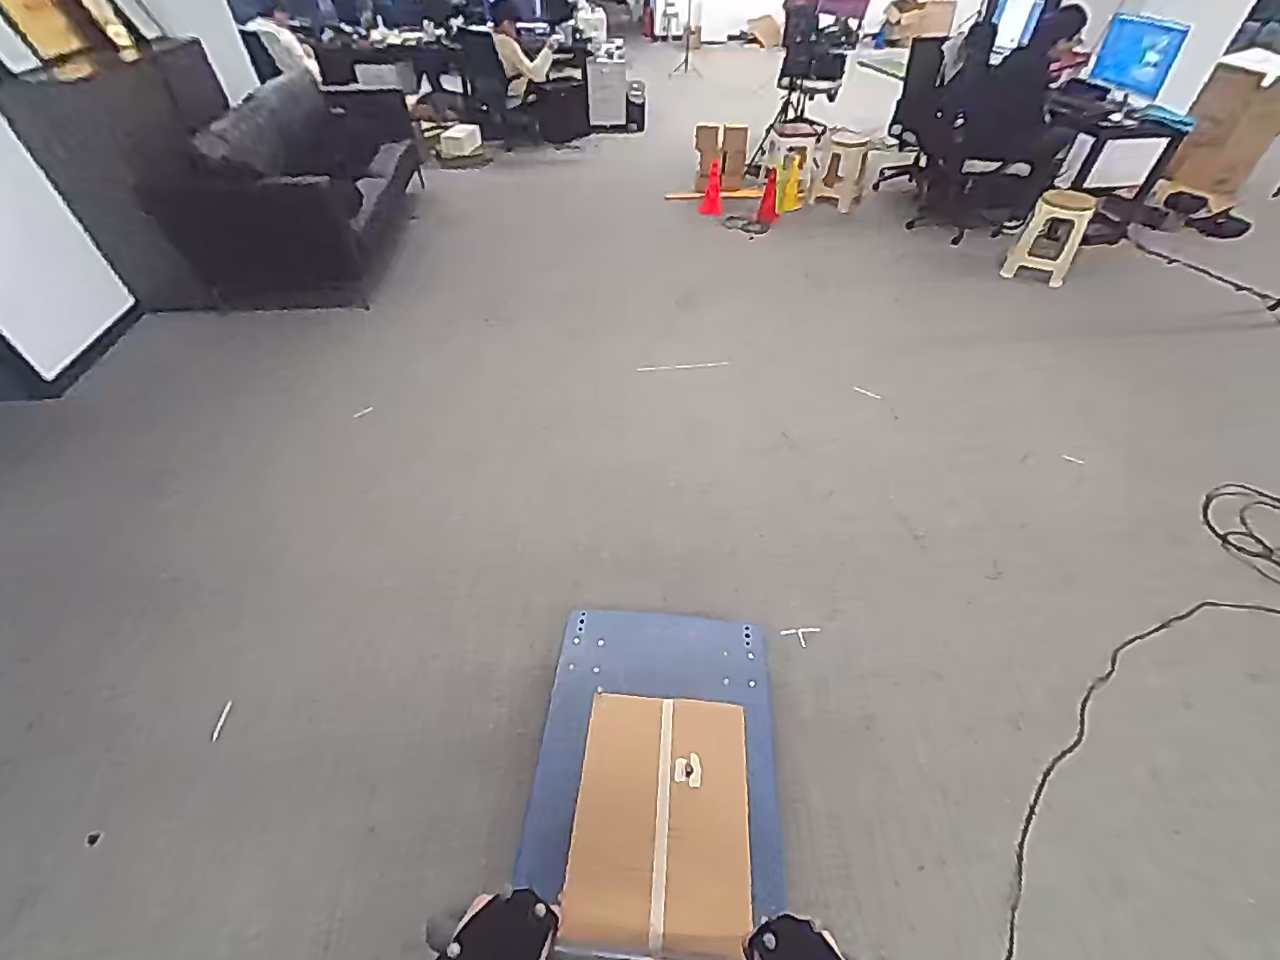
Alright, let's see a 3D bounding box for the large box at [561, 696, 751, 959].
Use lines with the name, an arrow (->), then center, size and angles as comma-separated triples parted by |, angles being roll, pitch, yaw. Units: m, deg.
large box -> 0.039, 0.710, 1.102 | 0.320, 0.320, 0.408 | 4, 45, 3
